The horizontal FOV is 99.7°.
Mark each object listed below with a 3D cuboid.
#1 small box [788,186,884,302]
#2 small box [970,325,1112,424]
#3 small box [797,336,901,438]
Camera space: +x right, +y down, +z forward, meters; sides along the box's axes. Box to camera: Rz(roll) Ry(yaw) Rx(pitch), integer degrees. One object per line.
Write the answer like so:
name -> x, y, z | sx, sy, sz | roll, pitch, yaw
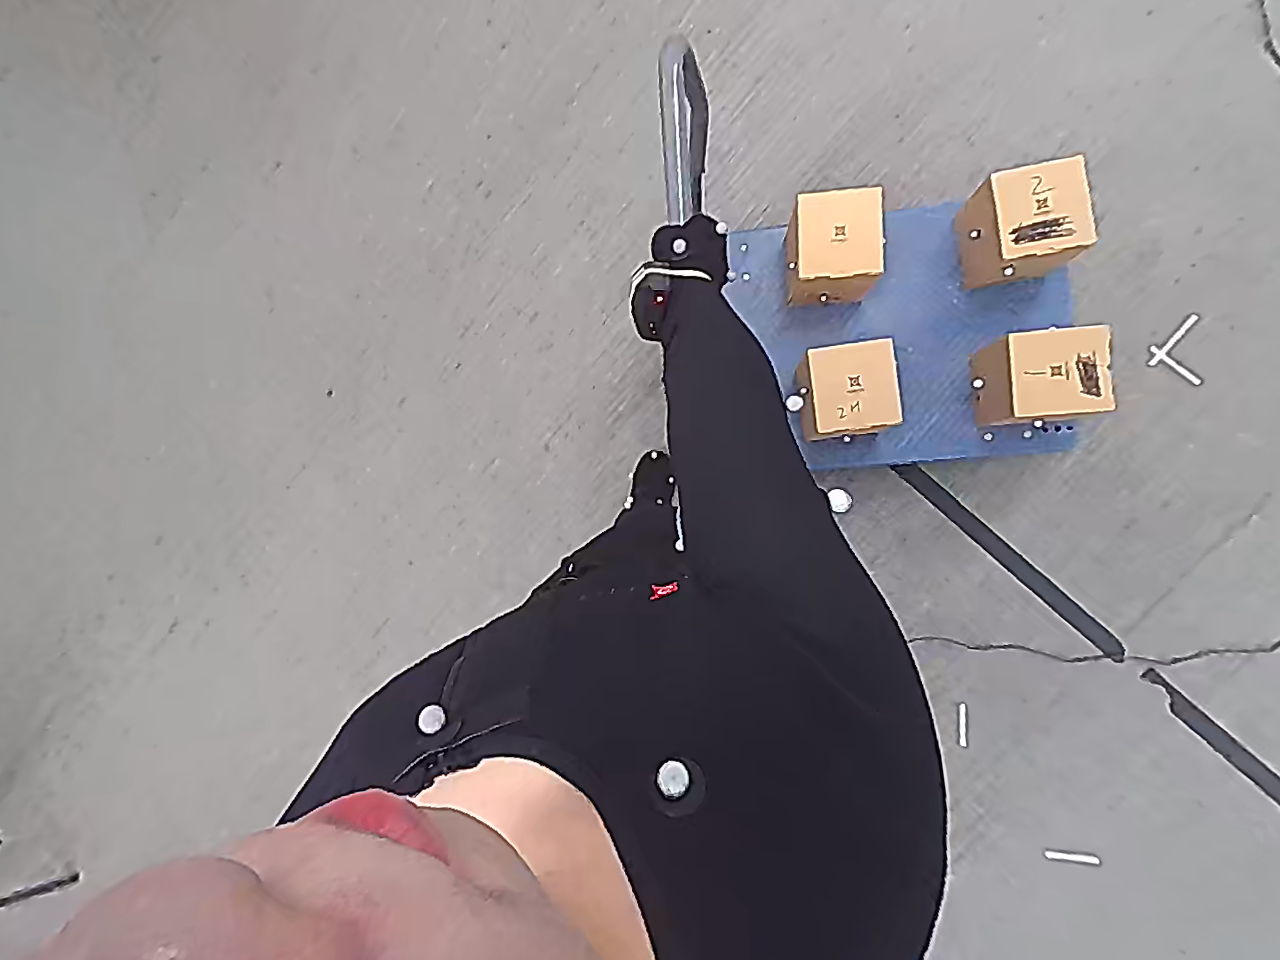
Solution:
small box -> 0.416, -0.502, 1.168 | 0.168, 0.176, 0.179 | -1, 91, 8
small box -> 0.812, -0.209, 1.109 | 0.179, 0.176, 0.168 | -3, 89, 9
small box -> 0.440, -0.193, 1.162 | 0.168, 0.176, 0.179 | -6, 89, 8
